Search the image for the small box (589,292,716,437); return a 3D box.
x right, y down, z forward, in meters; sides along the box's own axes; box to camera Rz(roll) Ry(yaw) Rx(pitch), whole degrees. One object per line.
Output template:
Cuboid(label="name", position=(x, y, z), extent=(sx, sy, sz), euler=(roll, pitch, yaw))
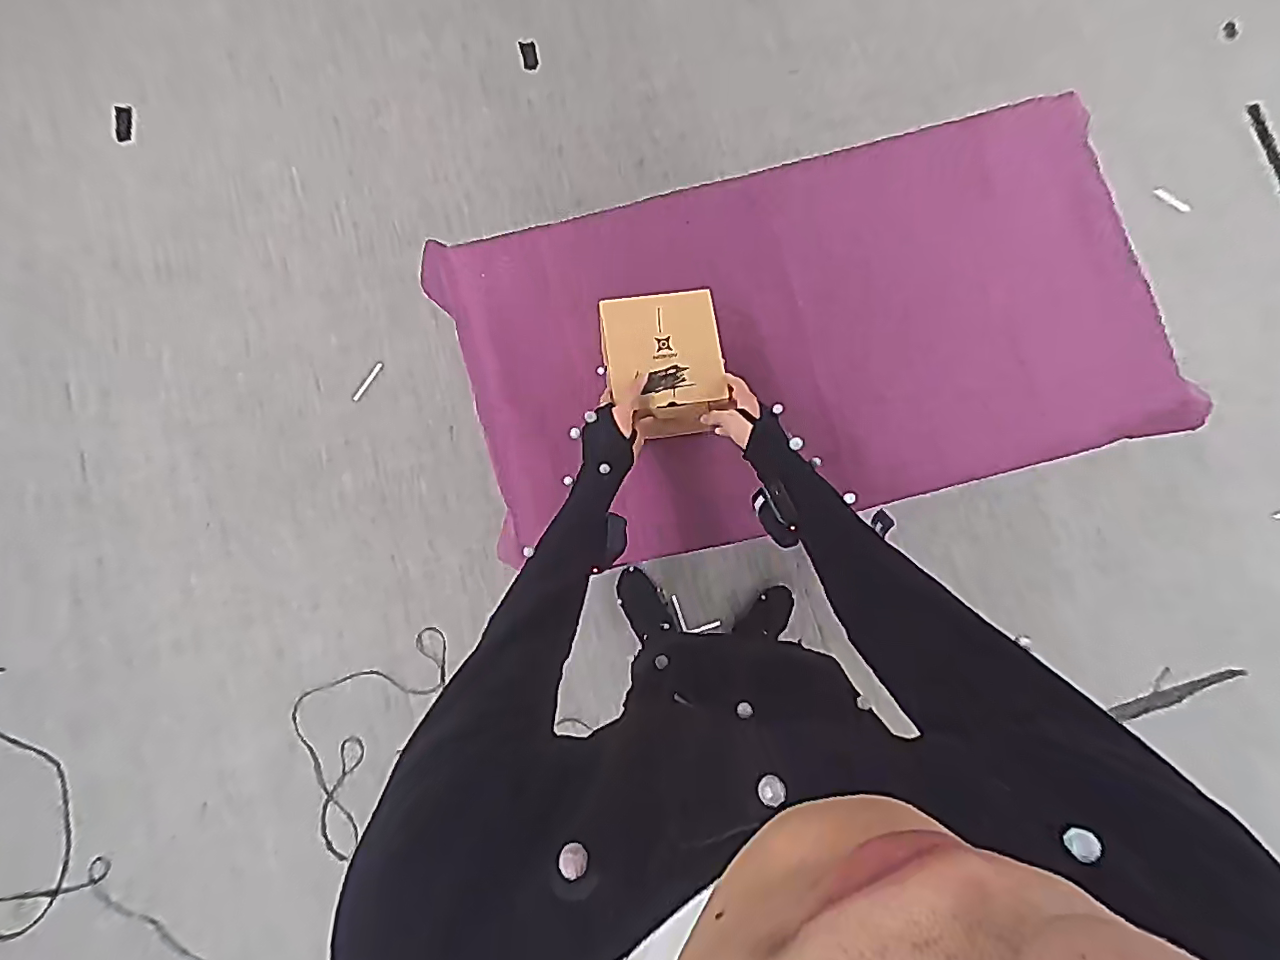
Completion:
Cuboid(label="small box", position=(0.015, -0.172, 0.859), extent=(0.168, 0.176, 0.179), euler=(-9, 83, -4))
